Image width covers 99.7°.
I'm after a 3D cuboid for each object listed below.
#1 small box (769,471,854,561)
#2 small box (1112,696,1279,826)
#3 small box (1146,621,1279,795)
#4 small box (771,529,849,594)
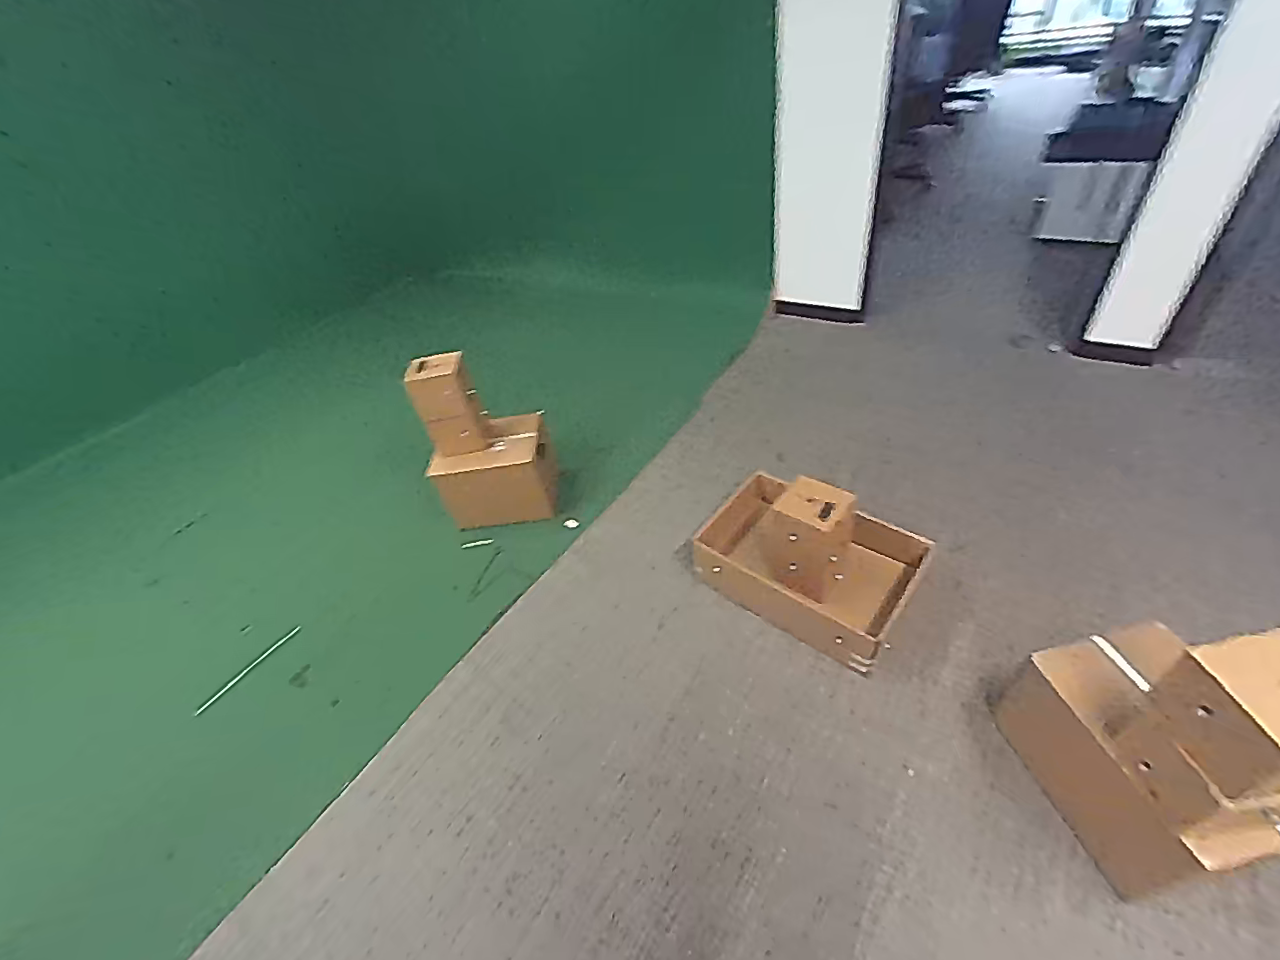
[{"bbox_3d":[0.495,0.107,1.566,0.179,0.176,0.168,25,54,36],"label":"small box"},{"bbox_3d":[0.978,0.471,0.926,0.179,0.176,0.168,-11,43,6],"label":"small box"},{"bbox_3d":[0.943,0.346,0.823,0.168,0.176,0.179,-14,42,3],"label":"small box"},{"bbox_3d":[0.523,0.224,1.677,0.179,0.176,0.168,25,55,34],"label":"small box"}]
